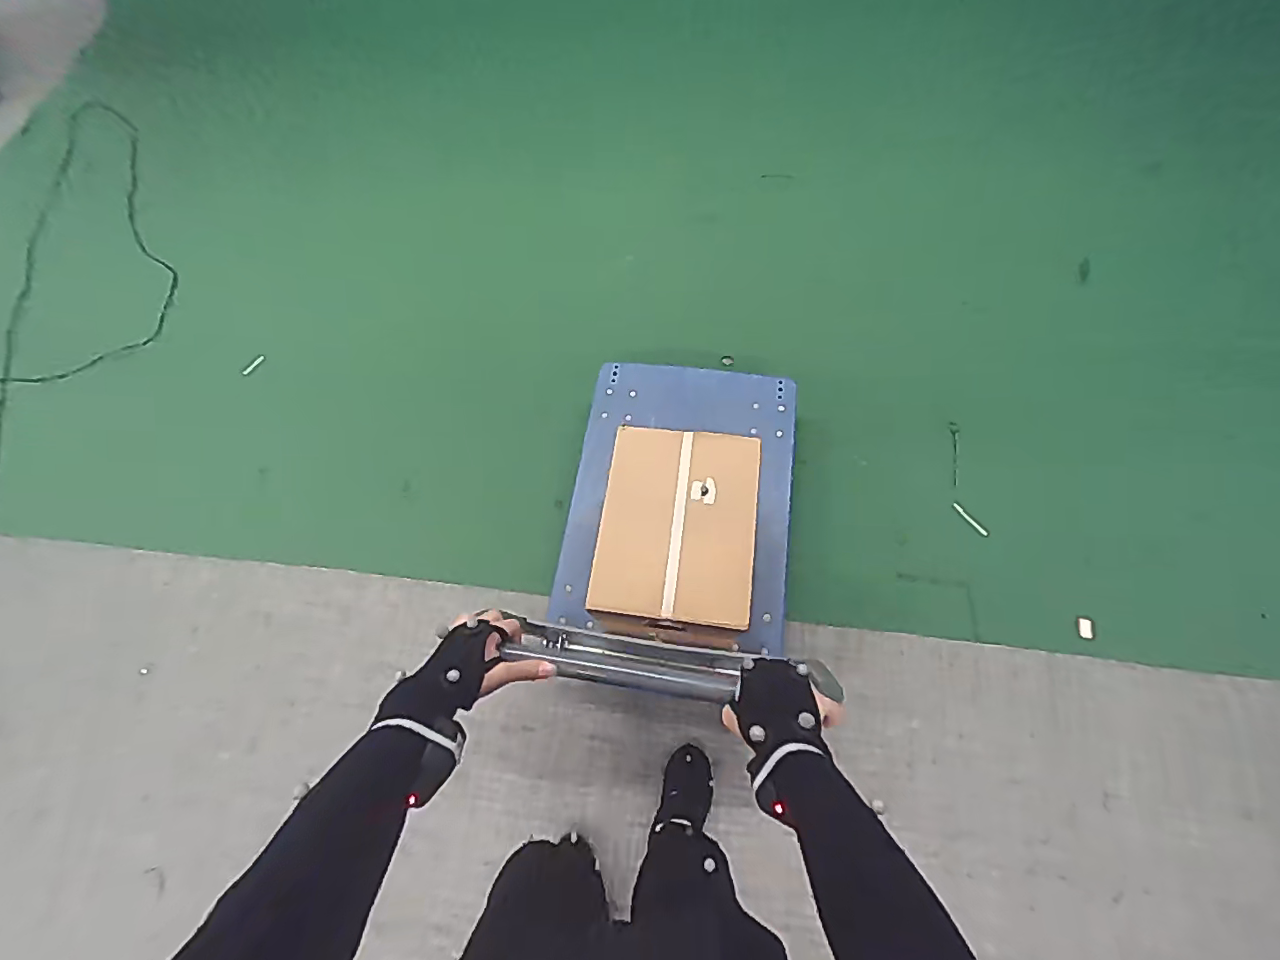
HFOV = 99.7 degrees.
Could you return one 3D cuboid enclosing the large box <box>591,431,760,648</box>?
[{"bbox_3d":[0.093,0.145,1.232,0.320,0.320,0.408,6,67,7],"label":"large box"}]
